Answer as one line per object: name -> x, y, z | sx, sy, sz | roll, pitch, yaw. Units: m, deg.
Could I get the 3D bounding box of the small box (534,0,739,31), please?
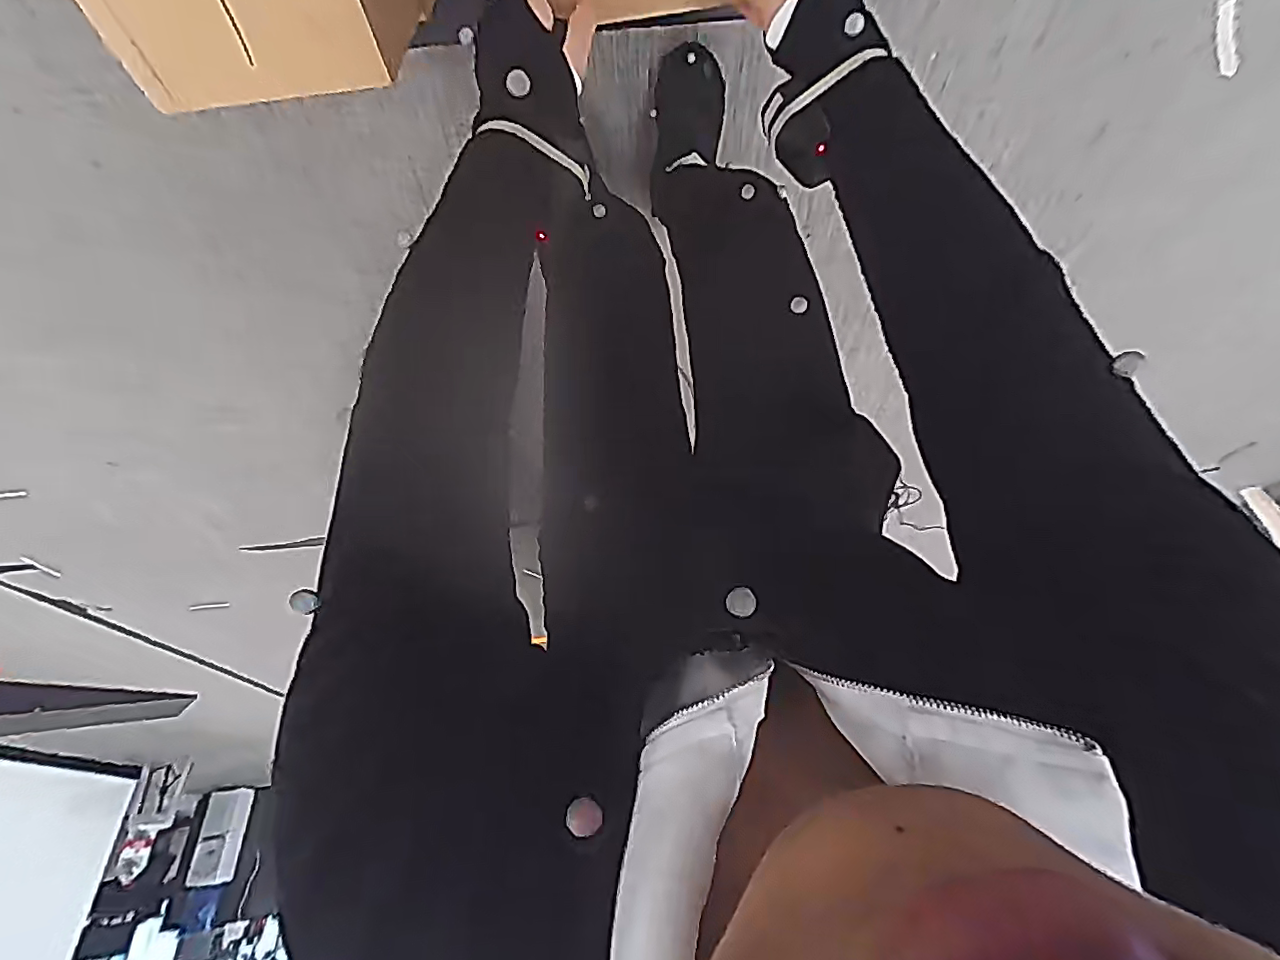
small box -> -0.009, -0.496, 0.427 | 0.179, 0.176, 0.168 | -4, 145, 5

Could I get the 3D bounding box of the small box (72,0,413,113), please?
small box -> -0.265, -0.374, 0.345 | 0.168, 0.176, 0.179 | -8, 146, 0
